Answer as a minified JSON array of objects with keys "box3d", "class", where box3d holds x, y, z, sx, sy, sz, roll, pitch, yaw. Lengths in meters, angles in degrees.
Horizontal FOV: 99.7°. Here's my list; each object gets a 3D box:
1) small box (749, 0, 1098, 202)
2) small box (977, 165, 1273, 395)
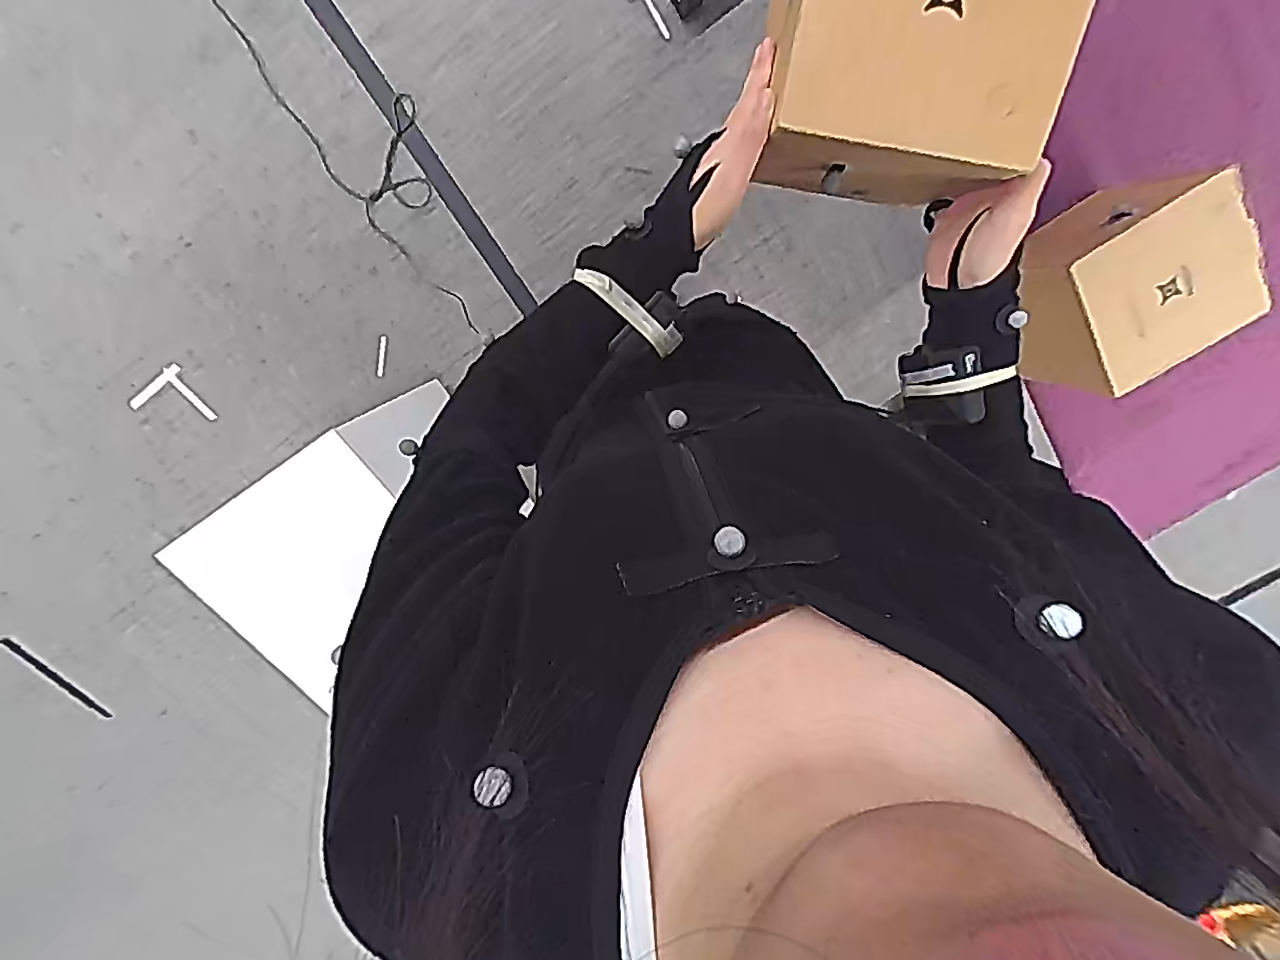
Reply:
[{"box3d":[0.179,-0.310,0.377,0.168,0.176,0.179,8,108,-1],"class":"small box"},{"box3d":[0.549,-0.226,0.634,0.179,0.176,0.168,-32,107,9],"class":"small box"}]
